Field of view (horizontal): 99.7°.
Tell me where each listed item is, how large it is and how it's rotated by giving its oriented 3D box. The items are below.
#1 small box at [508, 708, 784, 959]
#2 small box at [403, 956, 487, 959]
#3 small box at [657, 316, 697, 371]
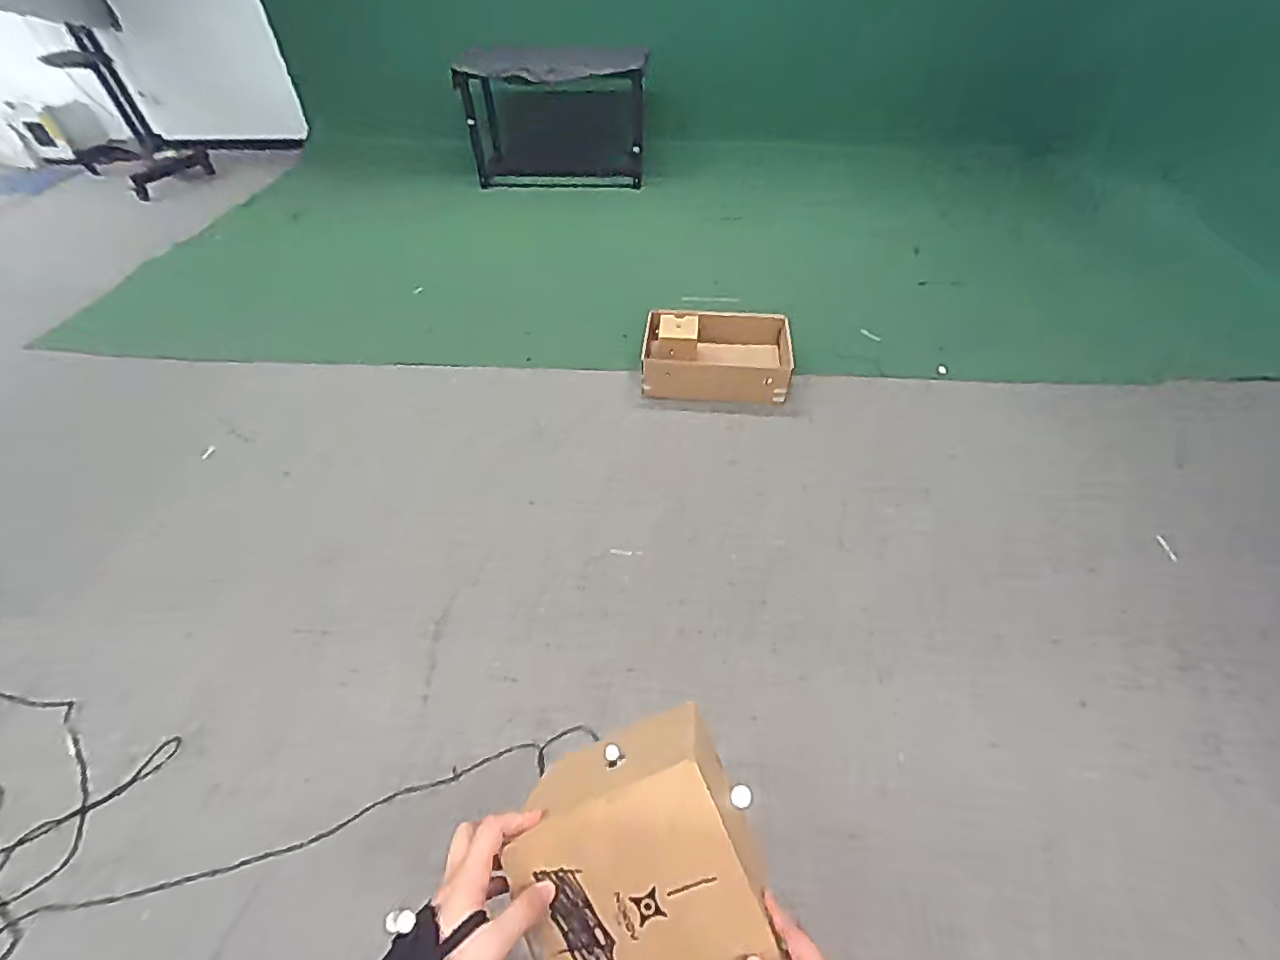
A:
[{"bbox_3d":[0.009,0.342,0.502,0.179,0.176,0.168,-25,83,1],"label":"small box"},{"bbox_3d":[-0.358,0.994,0.987,0.168,0.176,0.179,0,47,2],"label":"small box"},{"bbox_3d":[0.161,-0.596,2.365,0.168,0.176,0.179,4,49,4],"label":"small box"}]
